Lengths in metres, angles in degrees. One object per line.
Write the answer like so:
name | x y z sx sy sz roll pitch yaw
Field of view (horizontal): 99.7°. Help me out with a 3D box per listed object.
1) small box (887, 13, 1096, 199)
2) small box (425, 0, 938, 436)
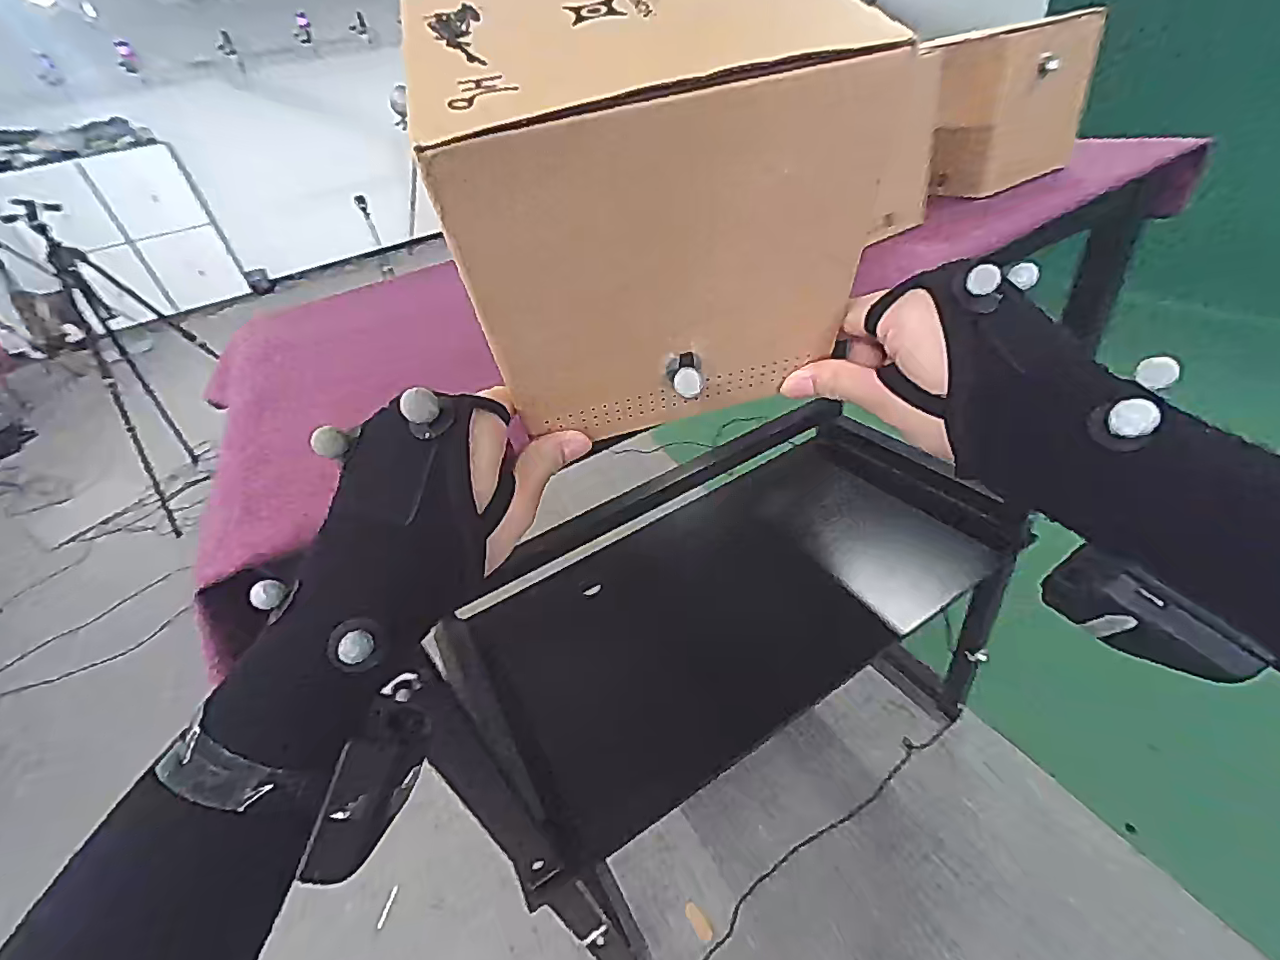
small box | 0.448 -0.487 0.722 0.179 0.176 0.168 -25 37 -18
small box | 0.005 -0.148 0.285 0.179 0.176 0.168 -14 56 -4
